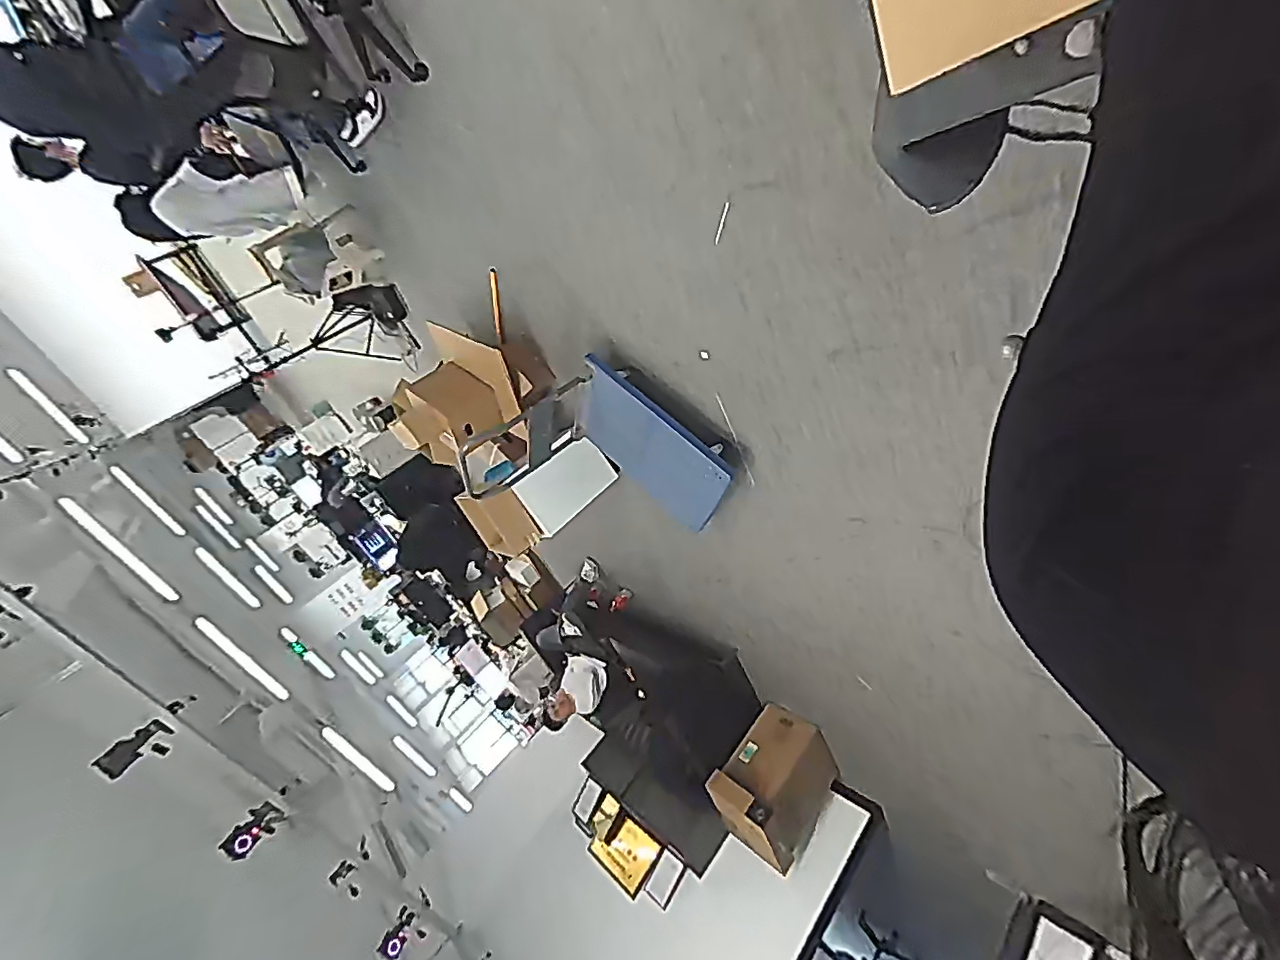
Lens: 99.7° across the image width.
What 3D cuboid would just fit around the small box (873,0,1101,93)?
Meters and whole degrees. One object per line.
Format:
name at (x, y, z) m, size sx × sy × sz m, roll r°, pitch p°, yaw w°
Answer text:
small box at (0.297, -0.448, 0.417) m, size 0.179 × 0.176 × 0.168 m, roll 8°, pitch 133°, yaw 51°
